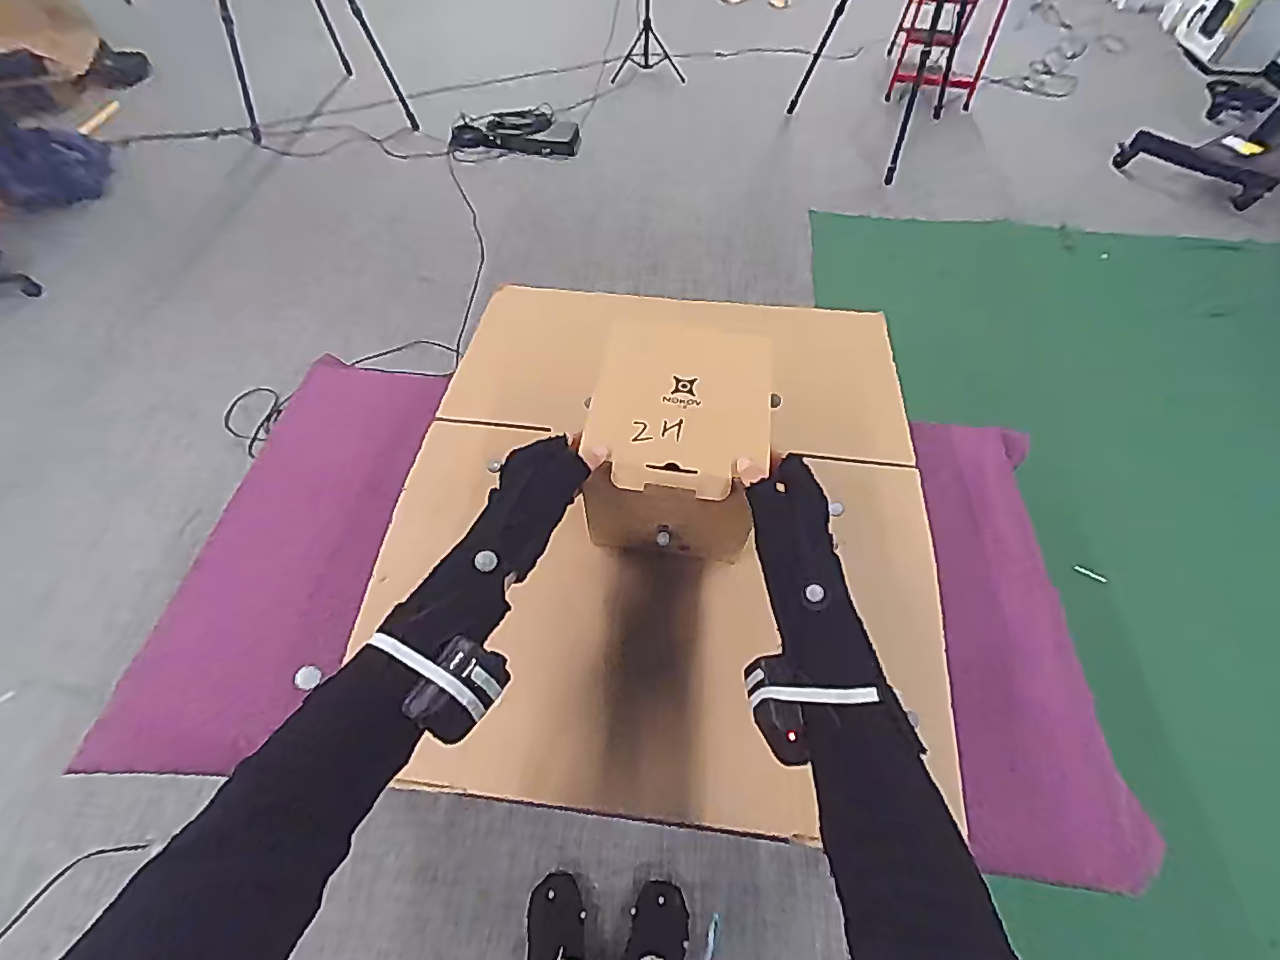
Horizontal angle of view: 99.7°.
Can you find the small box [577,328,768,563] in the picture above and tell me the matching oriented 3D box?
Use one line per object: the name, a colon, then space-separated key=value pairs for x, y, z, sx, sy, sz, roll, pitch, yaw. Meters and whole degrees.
small box: x=0.036 y=-0.032 z=0.578 sx=0.168 sy=0.176 sz=0.179 roll=7 pitch=59 yaw=5
